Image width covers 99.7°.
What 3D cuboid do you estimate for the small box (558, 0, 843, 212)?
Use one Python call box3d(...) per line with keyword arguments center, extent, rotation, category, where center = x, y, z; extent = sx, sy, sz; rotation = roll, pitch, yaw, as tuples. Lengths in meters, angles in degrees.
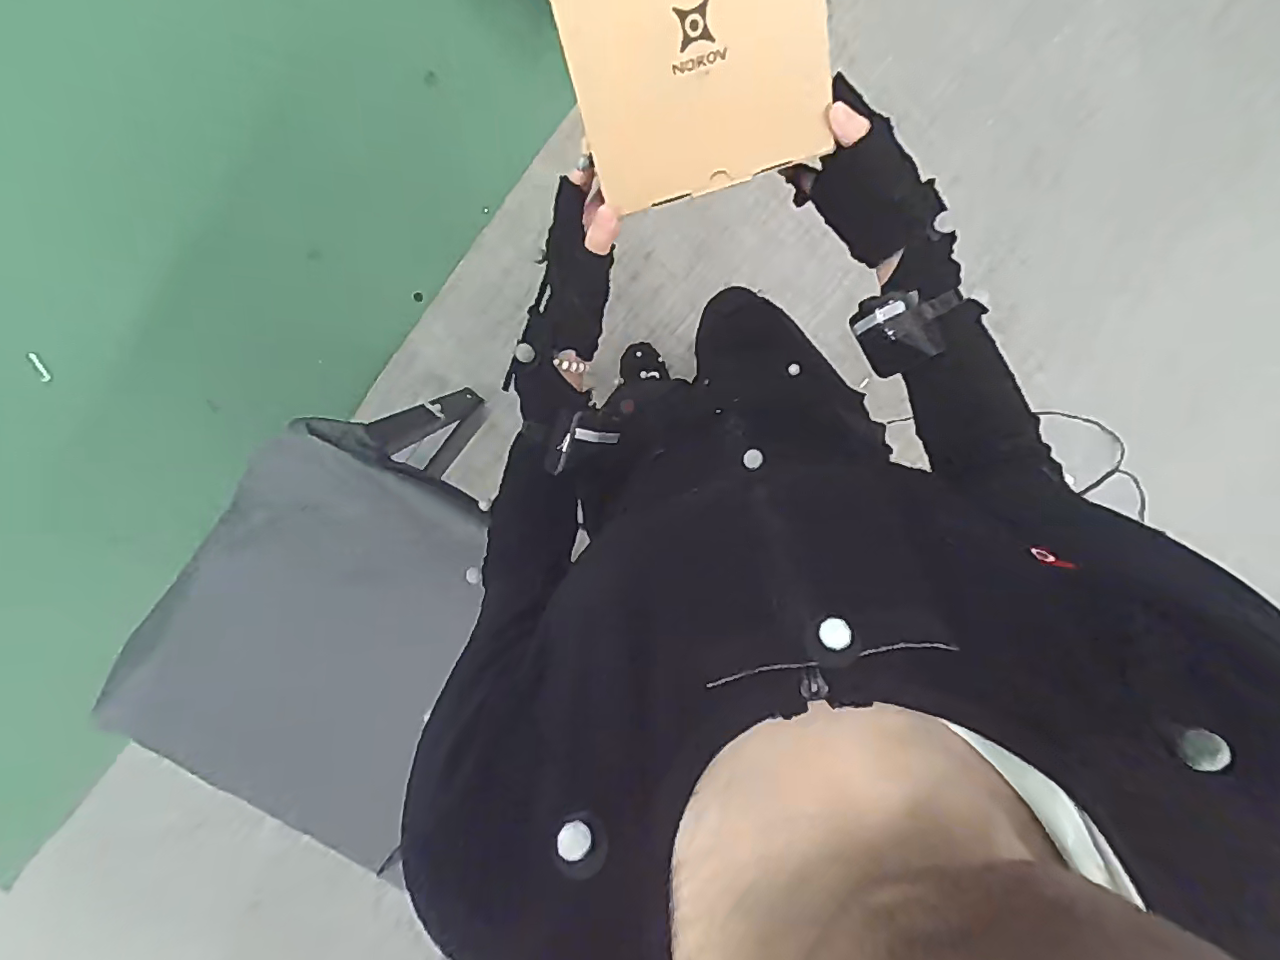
box3d(center=(0.034, -0.323, 0.402), extent=(0.168, 0.176, 0.179), rotation=(-15, 124, 5), category="small box")
